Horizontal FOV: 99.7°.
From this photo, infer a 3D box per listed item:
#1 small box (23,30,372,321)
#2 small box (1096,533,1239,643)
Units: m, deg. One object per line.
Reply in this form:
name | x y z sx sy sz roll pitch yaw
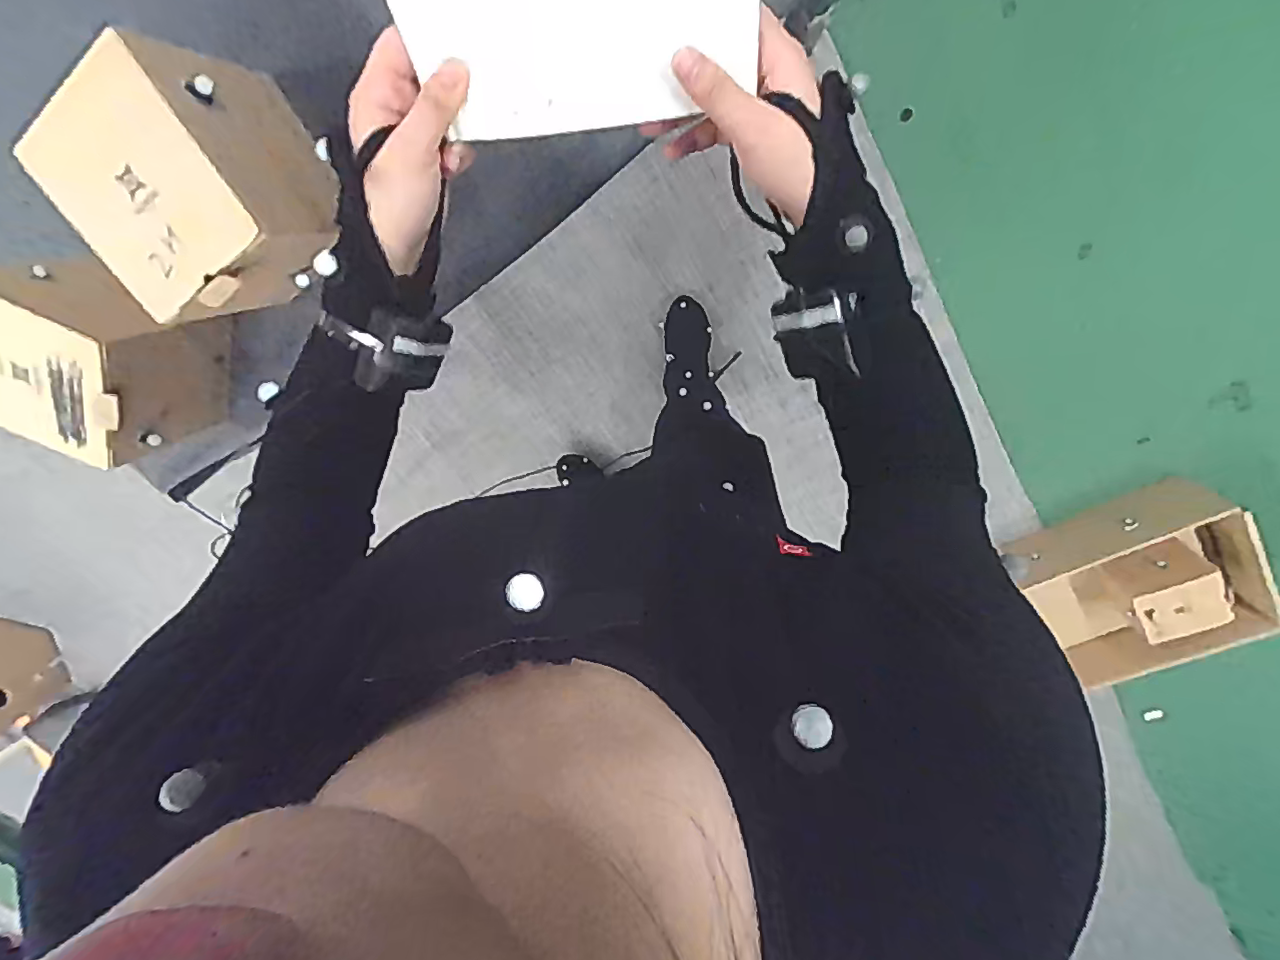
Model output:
small box | -0.424 -0.289 0.549 0.168 0.176 0.179 -25 109 20
small box | 1.280 0.259 1.322 0.179 0.176 0.168 -29 110 21
